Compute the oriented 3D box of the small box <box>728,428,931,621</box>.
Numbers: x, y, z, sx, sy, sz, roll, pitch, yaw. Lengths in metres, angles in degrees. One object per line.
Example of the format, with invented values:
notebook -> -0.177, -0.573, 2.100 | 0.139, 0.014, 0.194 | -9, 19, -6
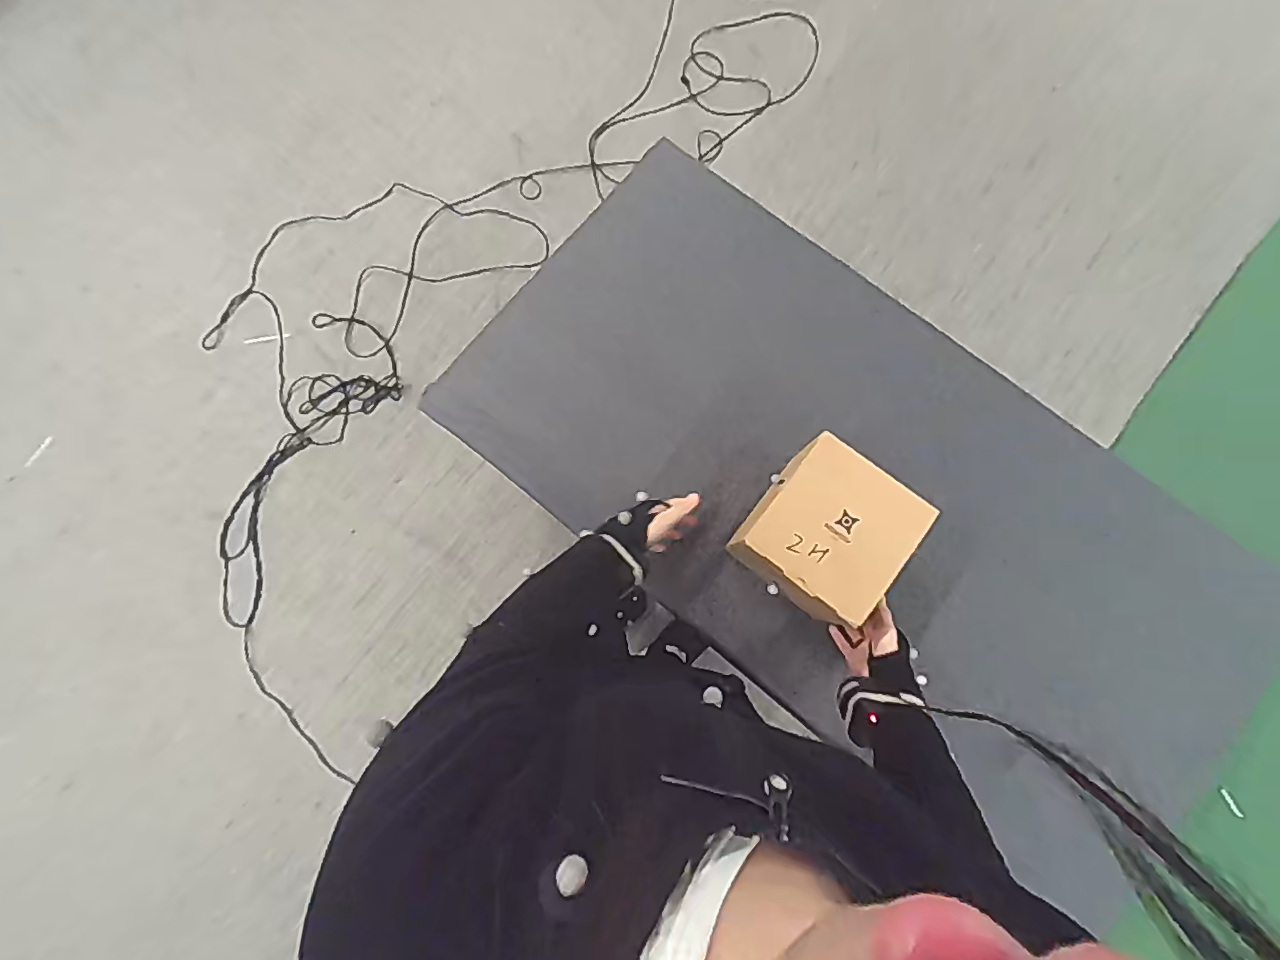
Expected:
small box -> 0.236, 0.064, 0.724 | 0.168, 0.176, 0.179 | 38, 82, 7
